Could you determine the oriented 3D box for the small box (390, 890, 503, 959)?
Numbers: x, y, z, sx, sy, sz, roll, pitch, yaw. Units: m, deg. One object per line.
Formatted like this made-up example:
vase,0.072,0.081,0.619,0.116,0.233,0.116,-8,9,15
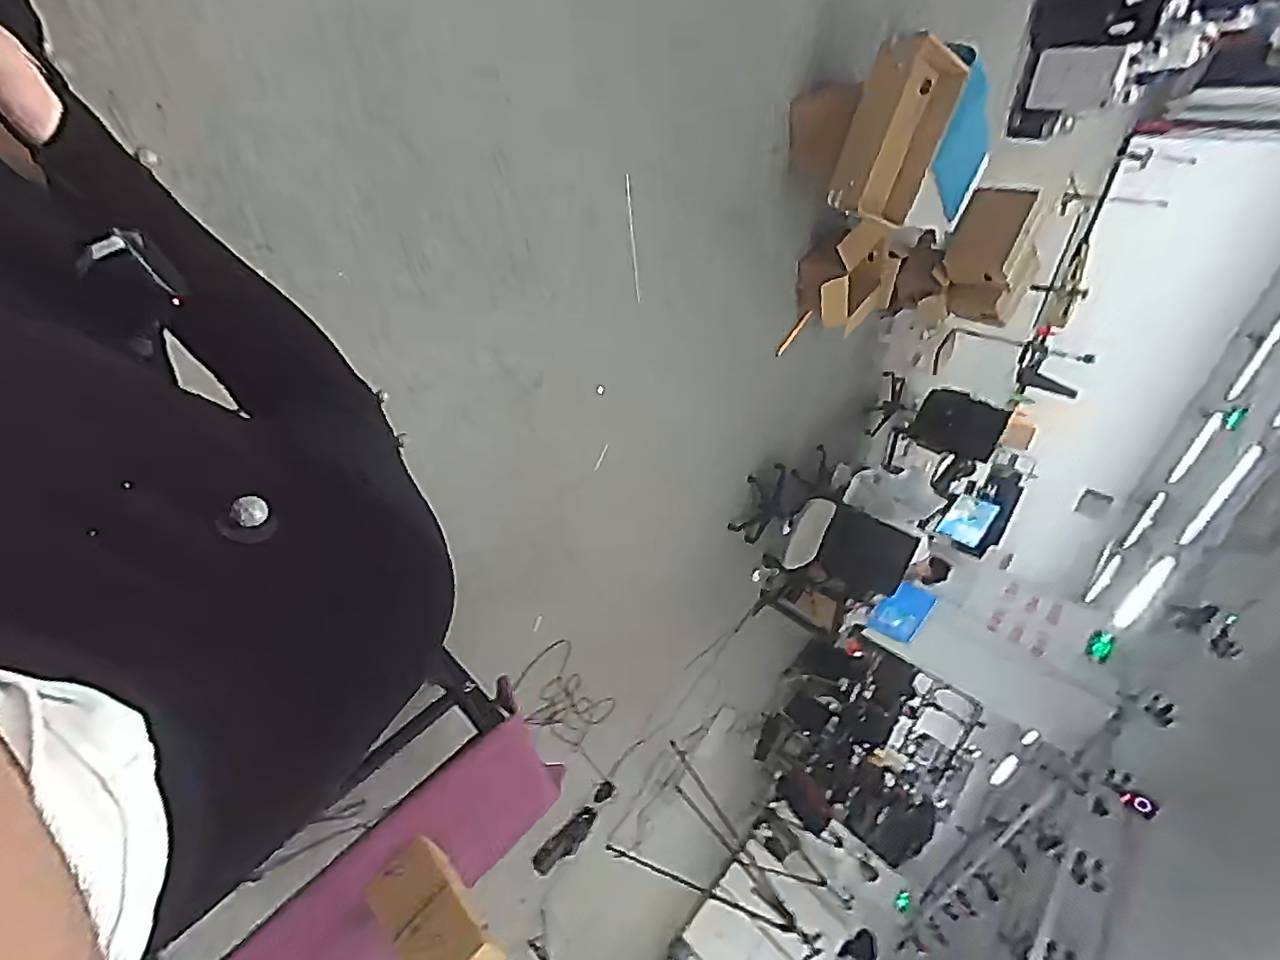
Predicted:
small box,-0.463,1.133,1.293,0.168,0.176,0.179,-37,138,-29
